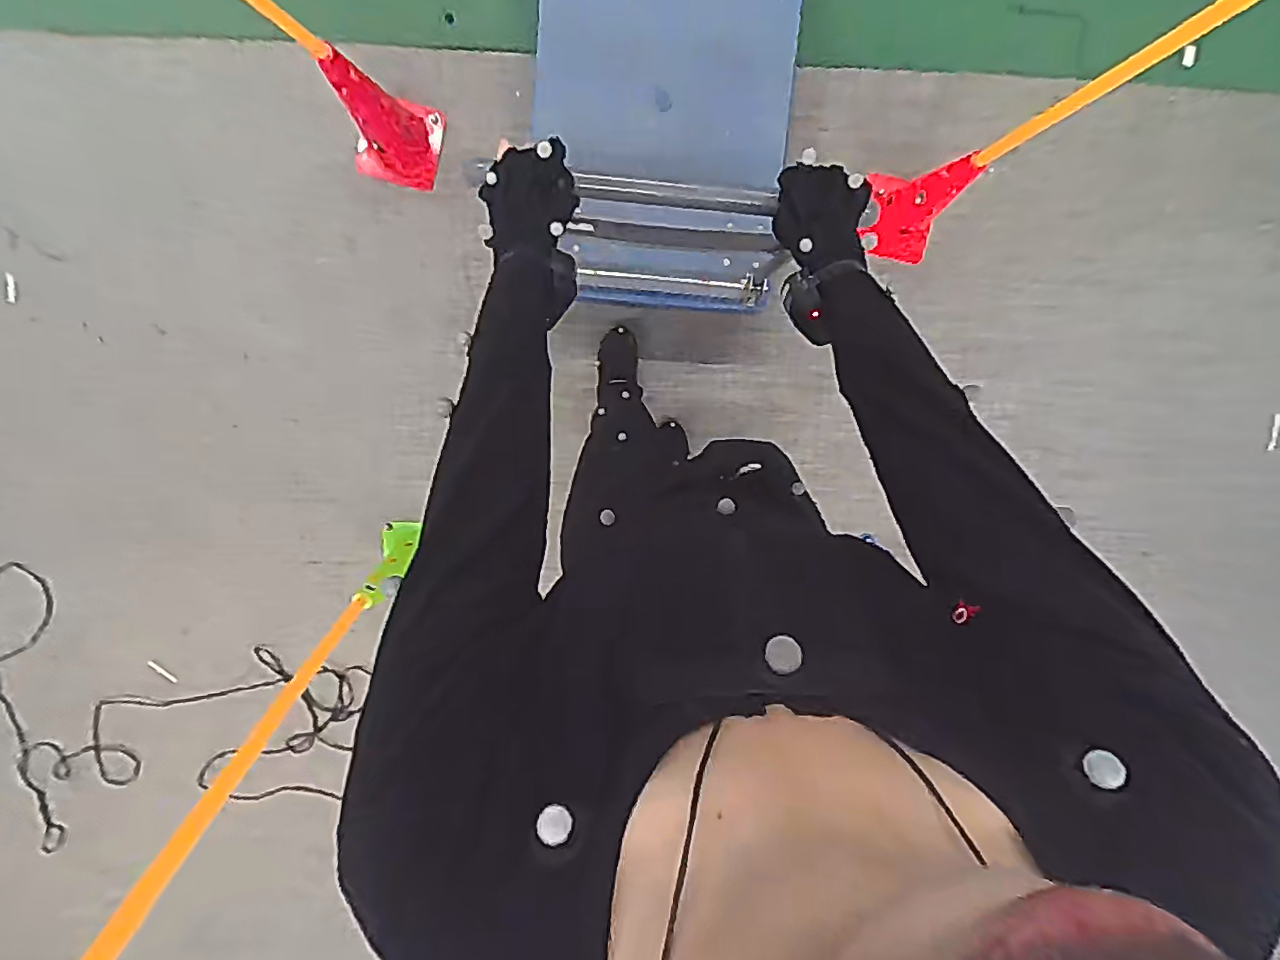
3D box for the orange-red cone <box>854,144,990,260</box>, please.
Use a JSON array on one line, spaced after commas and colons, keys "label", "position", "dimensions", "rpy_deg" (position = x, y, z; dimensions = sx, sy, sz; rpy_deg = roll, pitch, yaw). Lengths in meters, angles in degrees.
[{"label": "orange-red cone", "position": [0.675, -0.667, 1.242], "dimensions": [0.198, 0.360, 0.199], "rpy_deg": [12, 98, -2]}]
